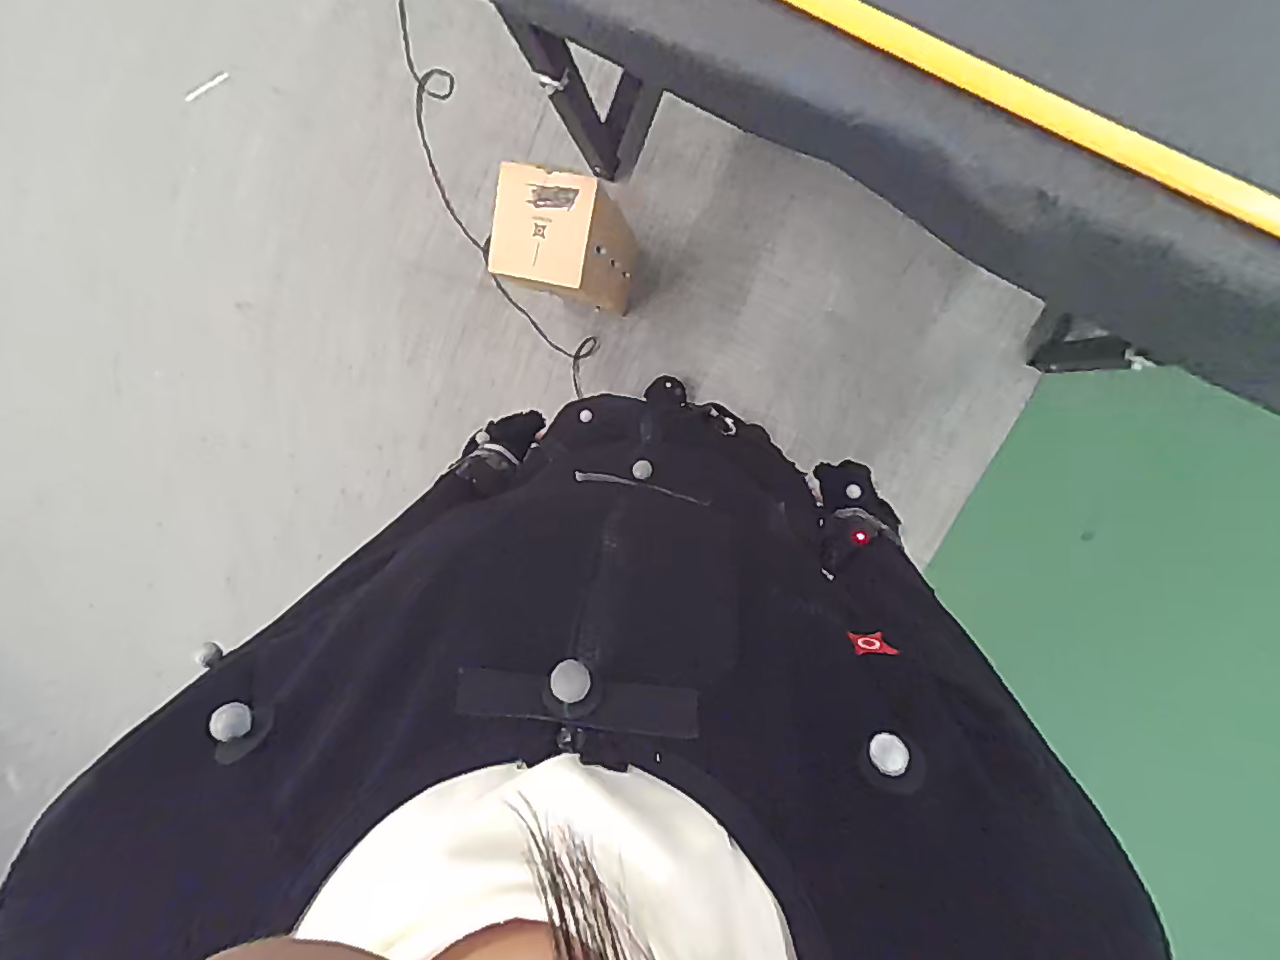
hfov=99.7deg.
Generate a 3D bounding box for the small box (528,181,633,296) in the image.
[{"bbox_3d":[-0.118,-0.491,1.123,0.168,0.176,0.179,11,101,8],"label":"small box"}]
